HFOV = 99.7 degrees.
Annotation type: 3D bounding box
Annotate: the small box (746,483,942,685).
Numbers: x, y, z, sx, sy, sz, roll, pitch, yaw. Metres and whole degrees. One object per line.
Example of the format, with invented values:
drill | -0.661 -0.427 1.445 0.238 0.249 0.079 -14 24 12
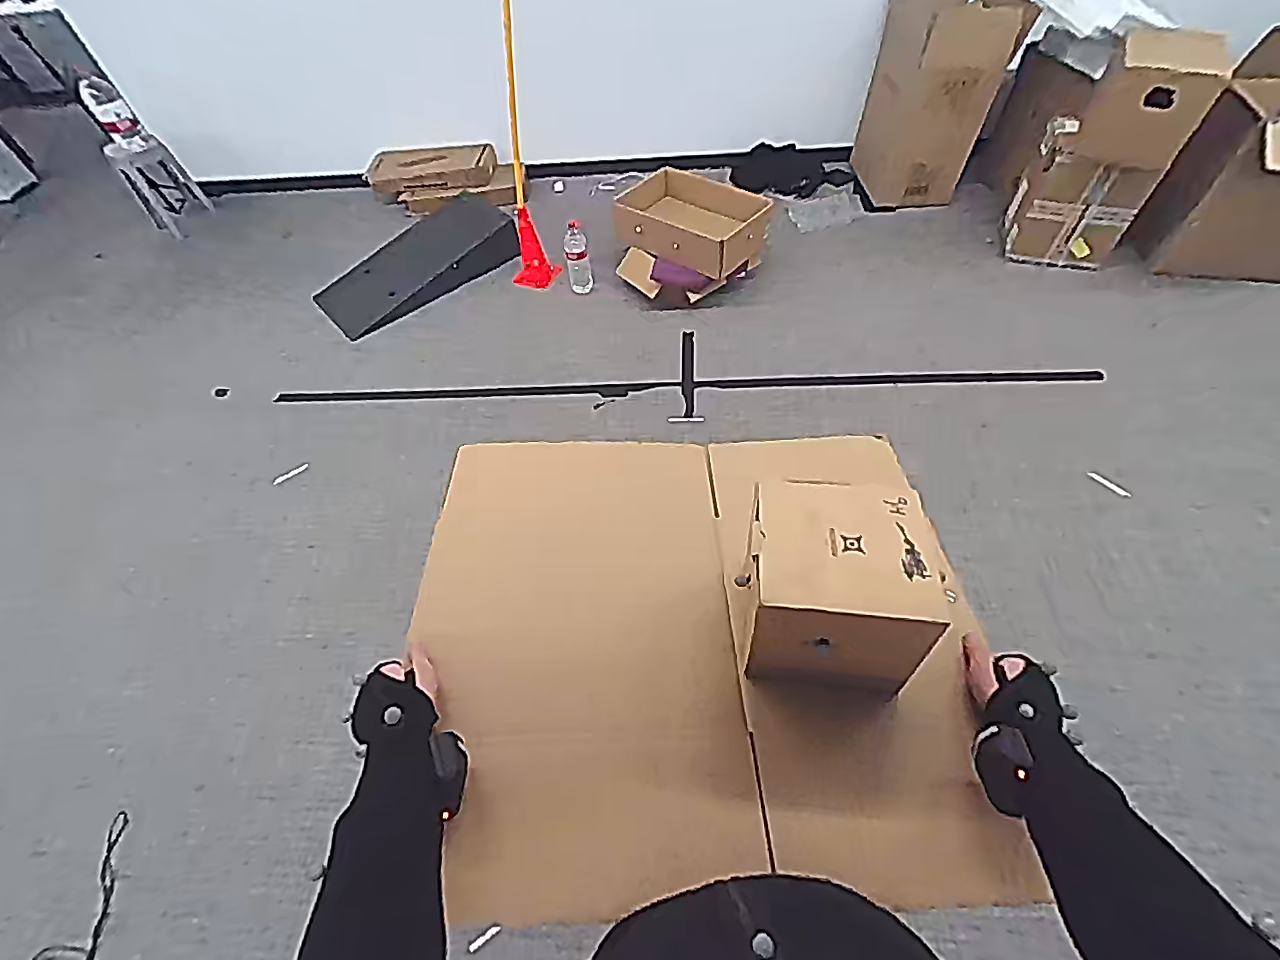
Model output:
small box | 0.215 0.122 0.626 0.179 0.176 0.168 3 49 9
